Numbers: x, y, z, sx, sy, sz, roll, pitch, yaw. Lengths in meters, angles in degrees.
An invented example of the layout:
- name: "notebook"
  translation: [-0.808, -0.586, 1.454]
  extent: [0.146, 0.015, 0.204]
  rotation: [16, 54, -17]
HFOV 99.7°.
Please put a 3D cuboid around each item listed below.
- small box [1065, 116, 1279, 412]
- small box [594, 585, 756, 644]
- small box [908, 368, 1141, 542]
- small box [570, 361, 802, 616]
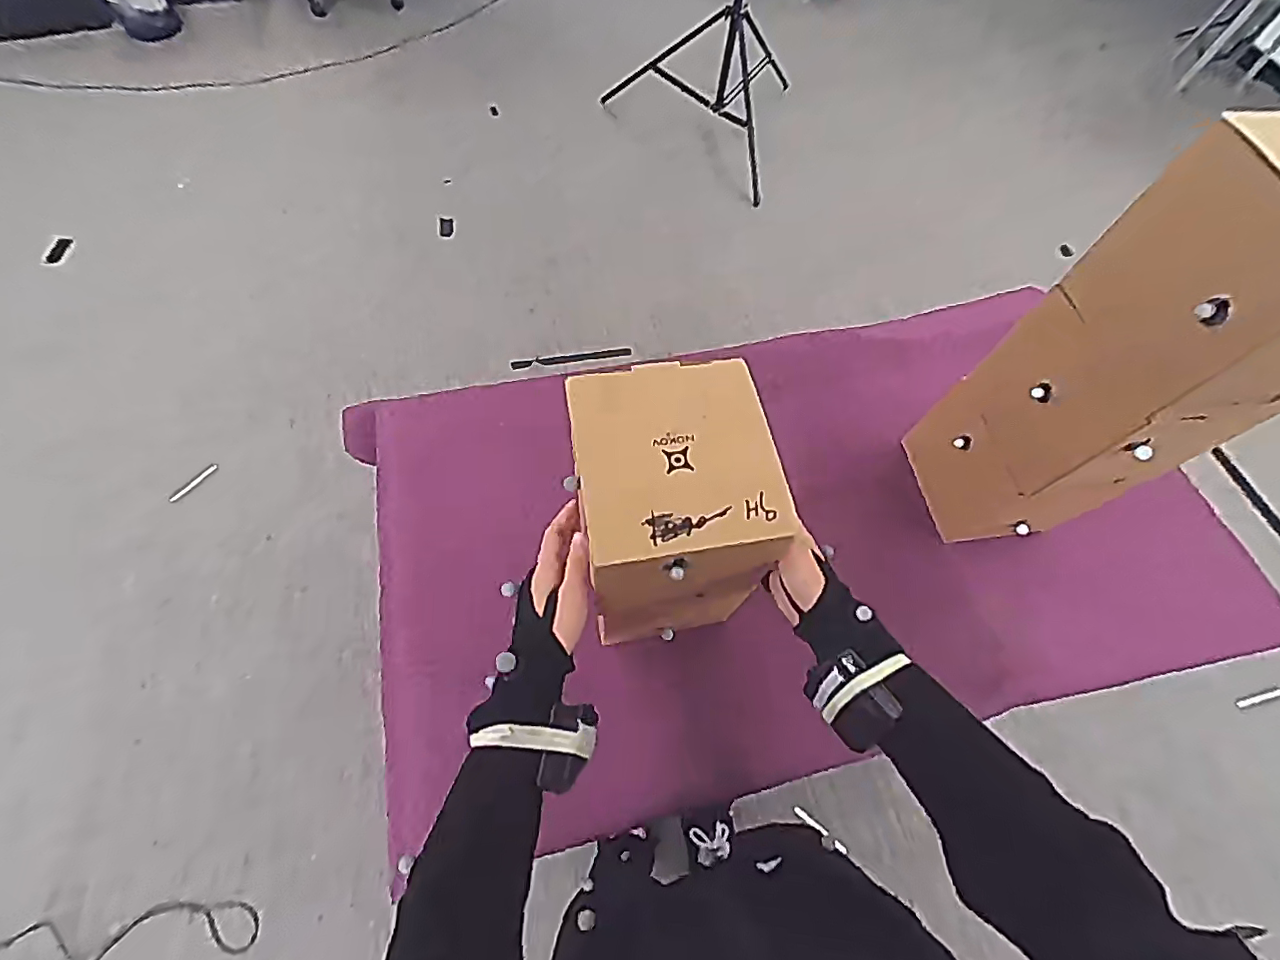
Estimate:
- name: "small box"
  translation: [0.522, -0.169, 0.453]
  extent: [0.168, 0.176, 0.179]
  rotation: [-4, 63, -7]
- name: "small box"
  translation: [0.020, 0.086, 0.659]
  extent: [0.168, 0.176, 0.179]
  rotation: [-9, 65, -8]
- name: "small box"
  translation: [0.507, -0.030, 0.748]
  extent: [0.168, 0.176, 0.179]
  rotation: [-6, 64, -6]
- name: "small box"
  translation: [0.026, 0.014, 0.512]
  extent: [0.168, 0.176, 0.179]
  rotation: [-8, 64, -7]
